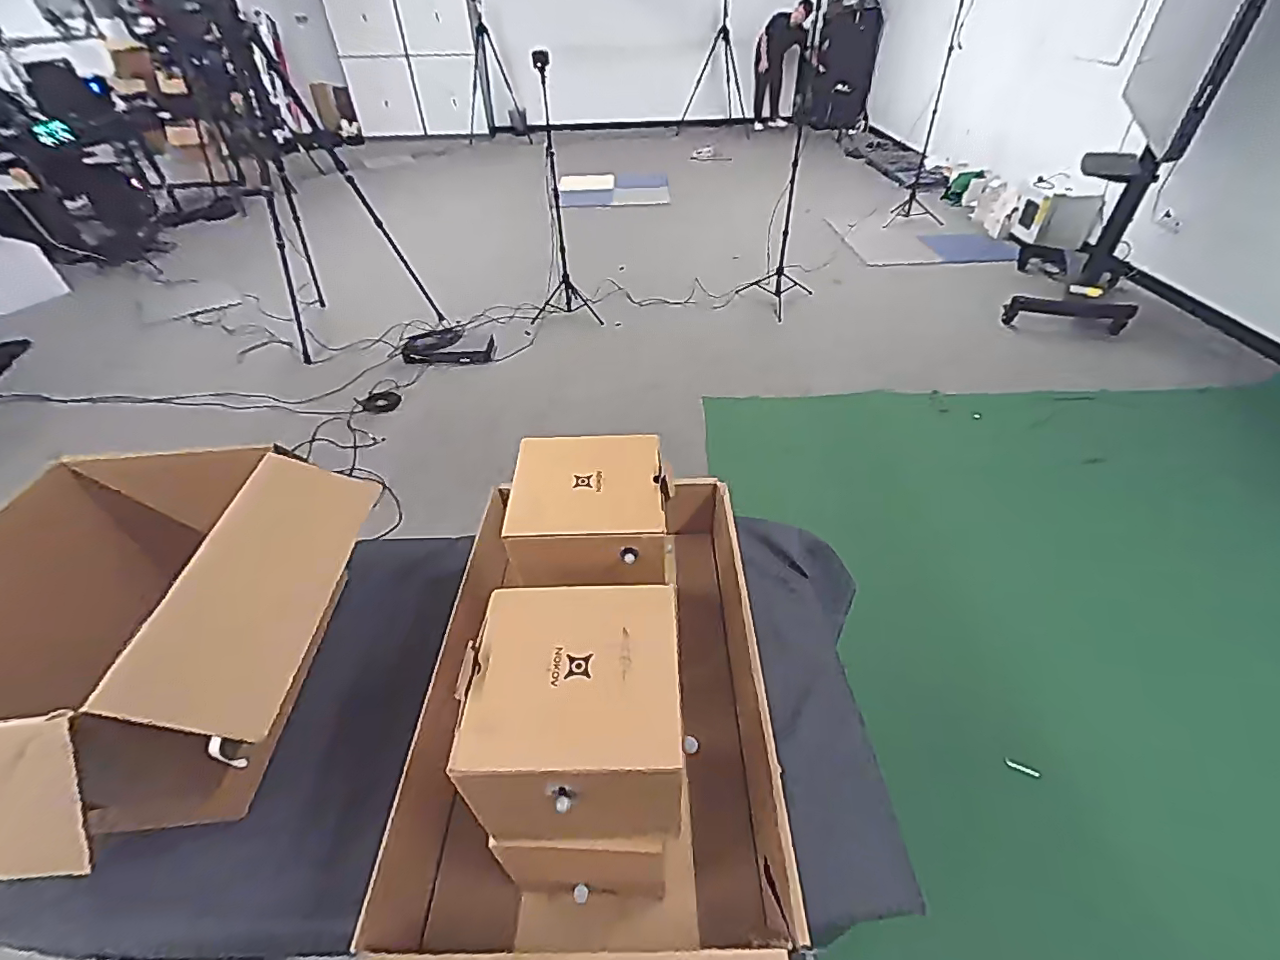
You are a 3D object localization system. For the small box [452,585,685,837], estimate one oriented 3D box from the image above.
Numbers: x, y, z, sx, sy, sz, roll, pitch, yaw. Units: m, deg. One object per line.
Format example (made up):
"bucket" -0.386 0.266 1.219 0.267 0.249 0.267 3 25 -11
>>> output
"small box" -0.049 0.217 0.507 0.179 0.176 0.168 -2 42 1

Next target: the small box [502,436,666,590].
"small box" -0.059 0.062 0.682 0.179 0.176 0.168 -2 44 0
